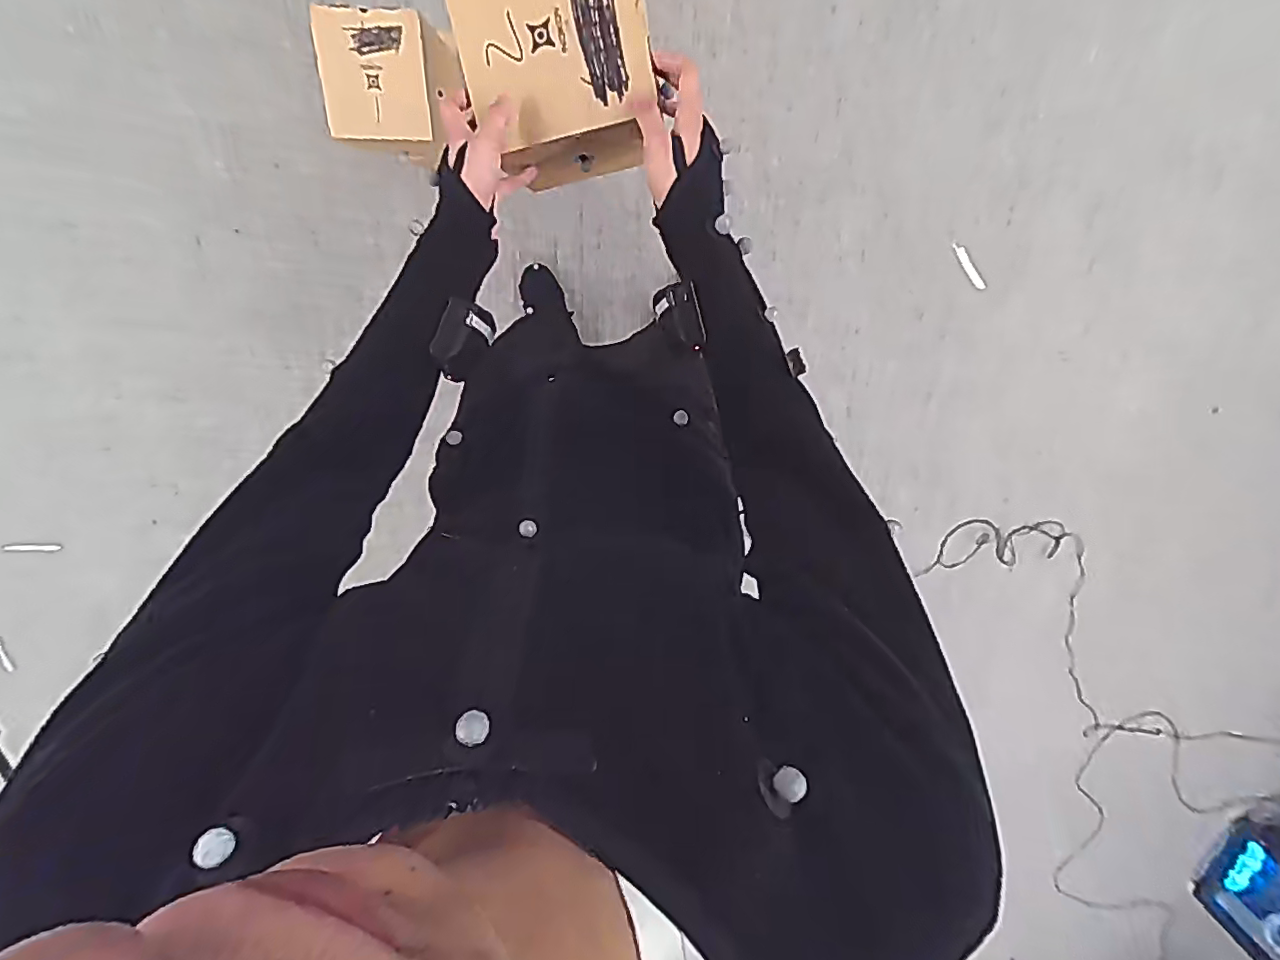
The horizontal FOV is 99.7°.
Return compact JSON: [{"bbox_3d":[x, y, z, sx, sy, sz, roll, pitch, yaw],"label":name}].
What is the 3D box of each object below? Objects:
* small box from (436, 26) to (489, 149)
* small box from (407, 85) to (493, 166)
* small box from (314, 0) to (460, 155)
[{"bbox_3d":[-0.410,-0.756,1.061,0.179,0.176,0.168,-4,113,-2],"label":"small box"},{"bbox_3d":[-0.434,-0.817,1.212,0.168,0.176,0.179,-3,114,-3],"label":"small box"},{"bbox_3d":[-0.415,-0.670,0.919,0.168,0.176,0.179,0,114,-3],"label":"small box"}]
